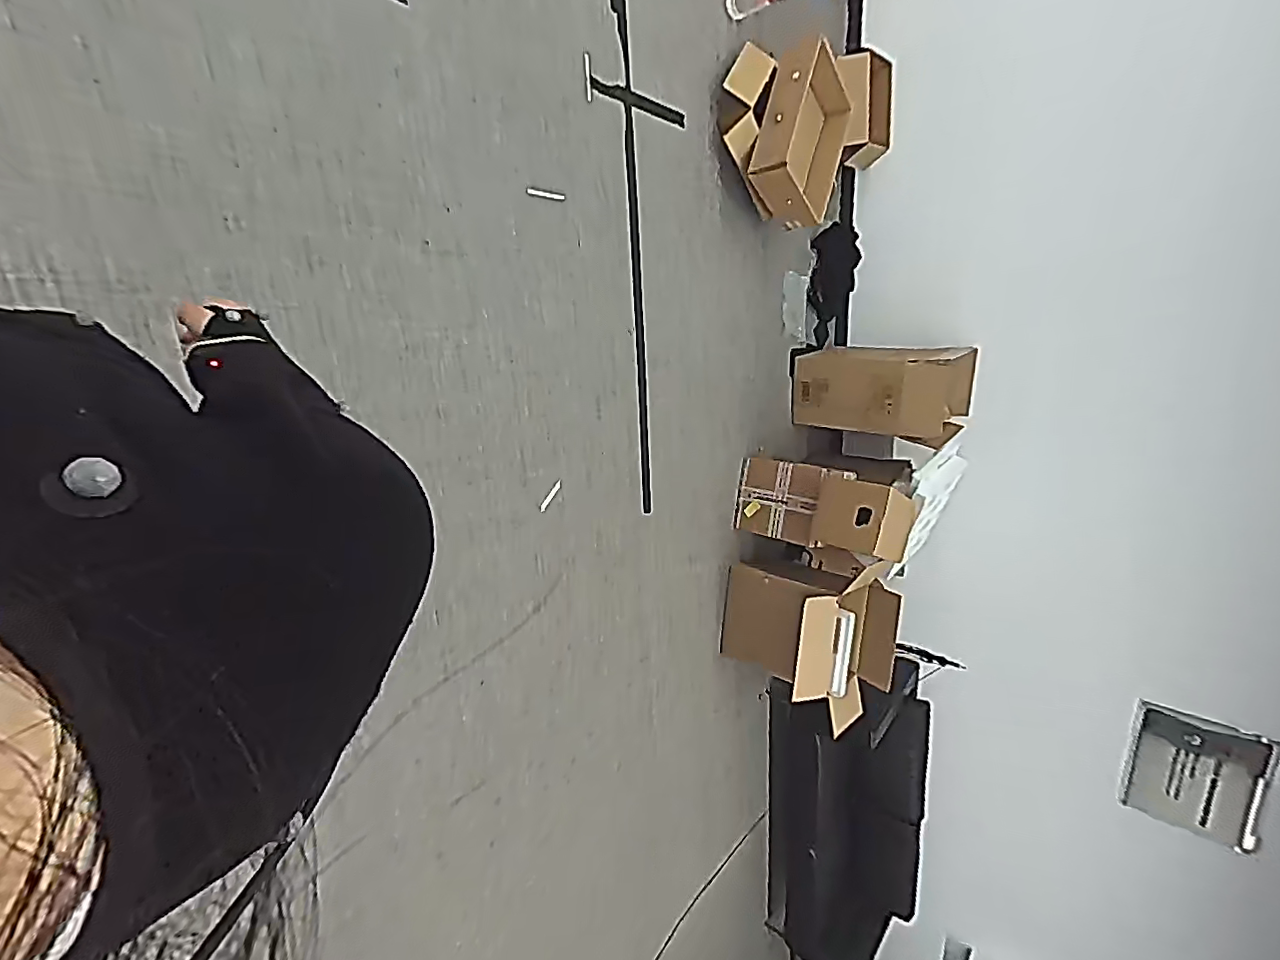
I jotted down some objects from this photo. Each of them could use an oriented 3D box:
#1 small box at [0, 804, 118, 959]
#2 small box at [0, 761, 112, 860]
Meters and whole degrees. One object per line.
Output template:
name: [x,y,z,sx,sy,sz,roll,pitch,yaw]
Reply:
small box: [-1.043,0.700,0.929,0.168,0.176,0.179,-21,114,-43]
small box: [-1.161,0.676,1.038,0.168,0.176,0.179,-21,114,-44]
